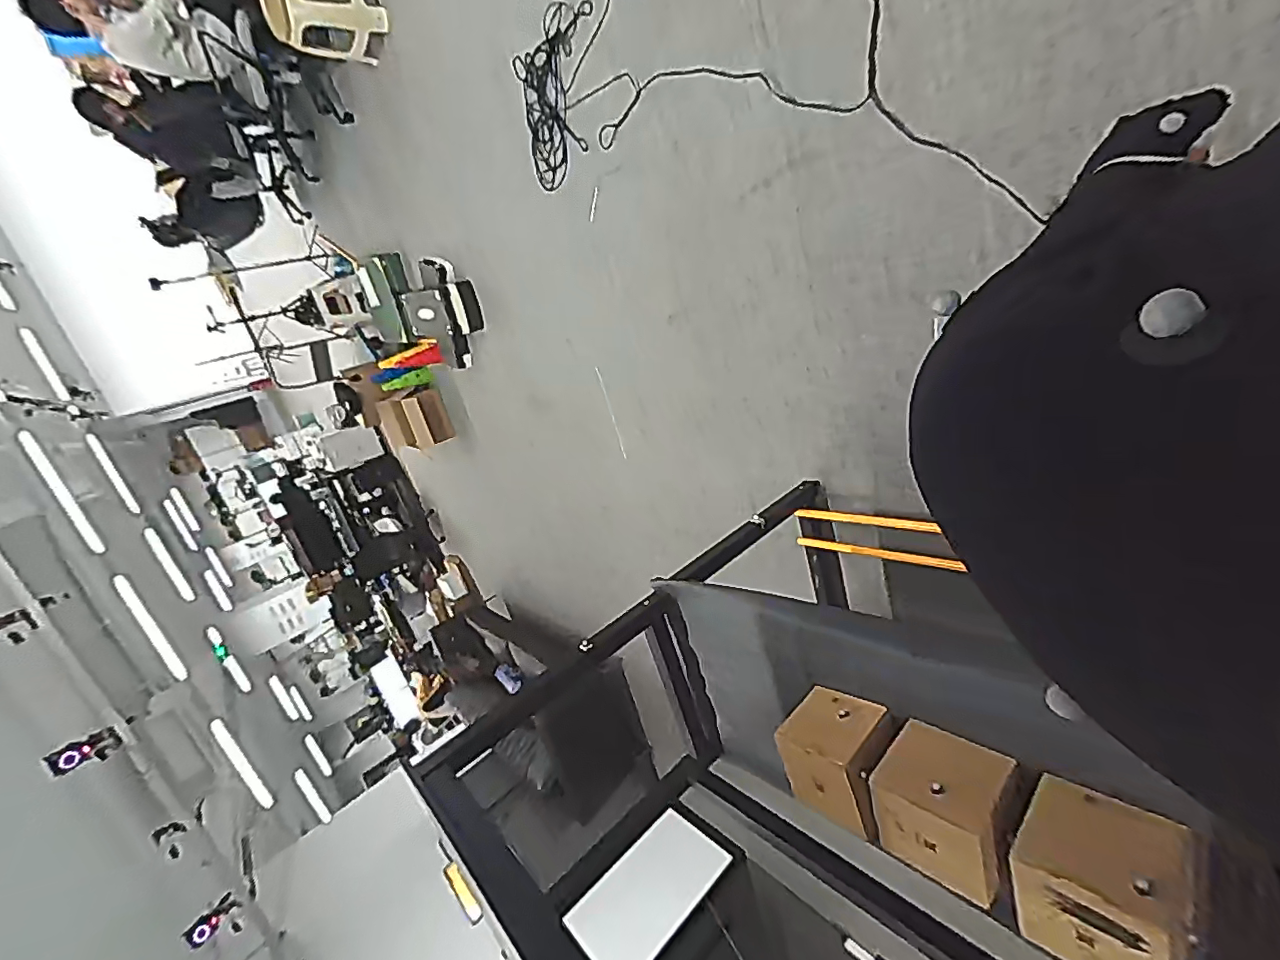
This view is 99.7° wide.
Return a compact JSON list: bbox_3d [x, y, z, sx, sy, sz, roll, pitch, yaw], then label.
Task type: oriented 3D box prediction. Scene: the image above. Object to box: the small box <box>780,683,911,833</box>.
[{"bbox_3d":[0.420,0.549,1.093,0.168,0.176,0.179,-4,110,53],"label":"small box"}]
